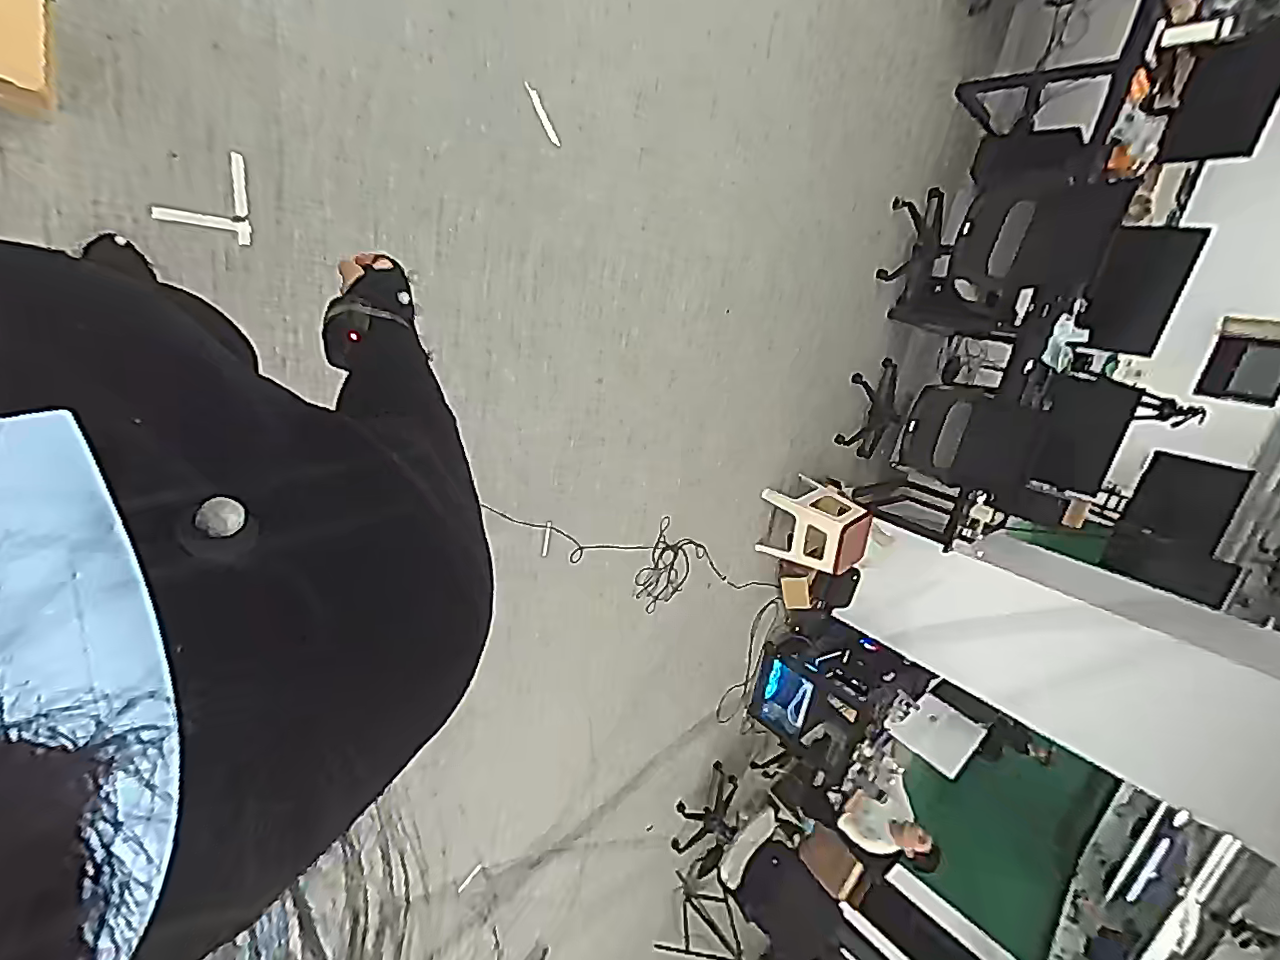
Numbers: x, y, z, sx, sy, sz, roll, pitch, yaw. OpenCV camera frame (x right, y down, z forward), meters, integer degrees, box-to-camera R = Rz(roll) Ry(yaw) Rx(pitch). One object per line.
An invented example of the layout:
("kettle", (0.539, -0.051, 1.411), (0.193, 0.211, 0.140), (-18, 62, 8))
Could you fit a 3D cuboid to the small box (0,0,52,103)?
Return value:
("small box", (-0.882, -0.623, 0.691), (0.168, 0.176, 0.179), (1, 109, -44))
